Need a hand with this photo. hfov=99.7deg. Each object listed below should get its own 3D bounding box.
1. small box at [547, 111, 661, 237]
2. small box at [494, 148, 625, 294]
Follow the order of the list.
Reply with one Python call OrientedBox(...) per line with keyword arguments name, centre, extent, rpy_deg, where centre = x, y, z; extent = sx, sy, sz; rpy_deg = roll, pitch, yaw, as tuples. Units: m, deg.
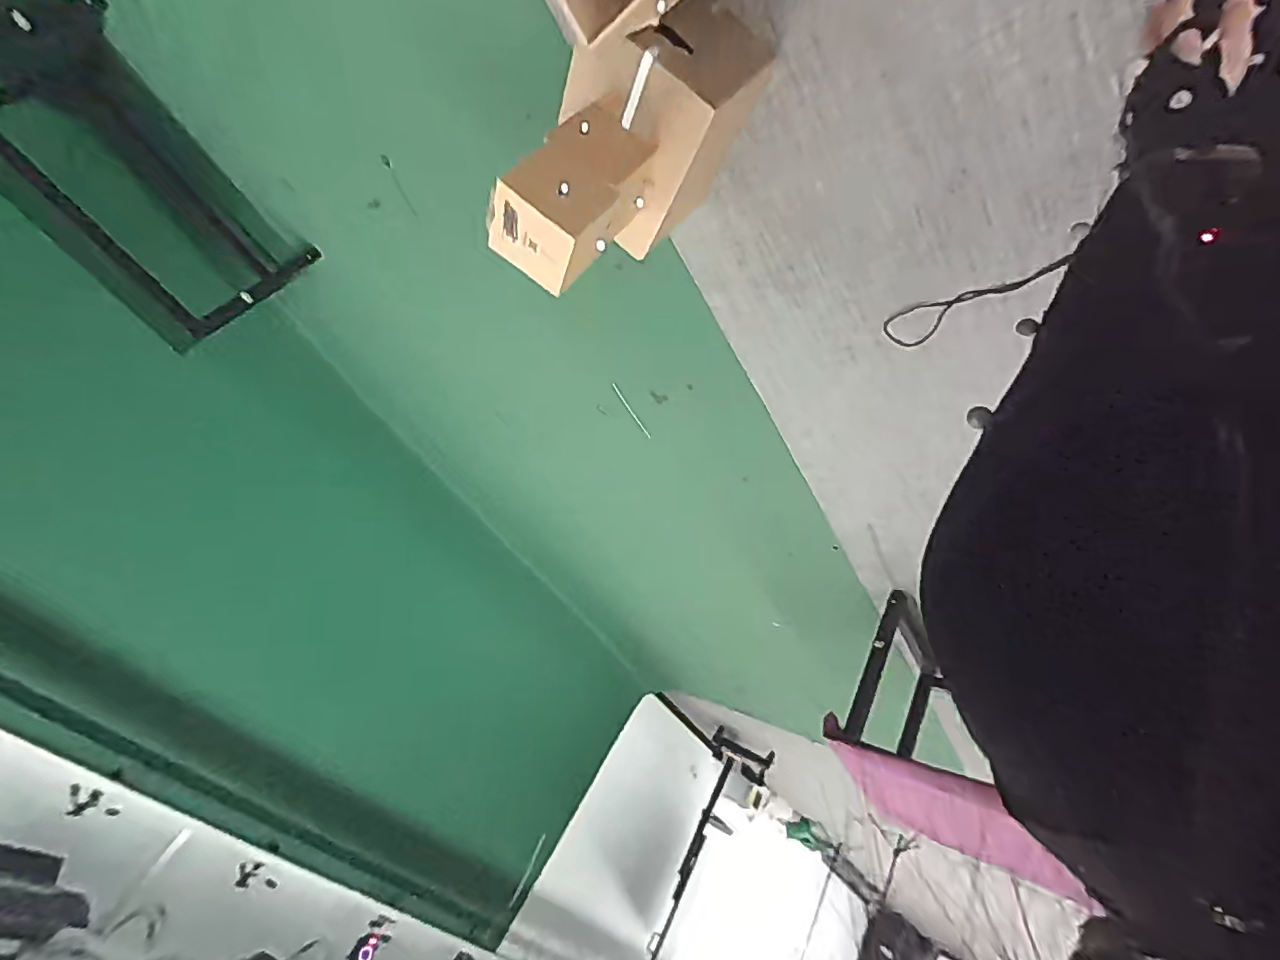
OrientedBox(name="small box", centre=(-0.086, -0.640, 1.146), extent=(0.179, 0.176, 0.168), rpy_deg=(35, 152, 0))
OrientedBox(name="small box", centre=(-0.161, -0.515, 1.068), extent=(0.179, 0.176, 0.168), rpy_deg=(37, 152, -4))
